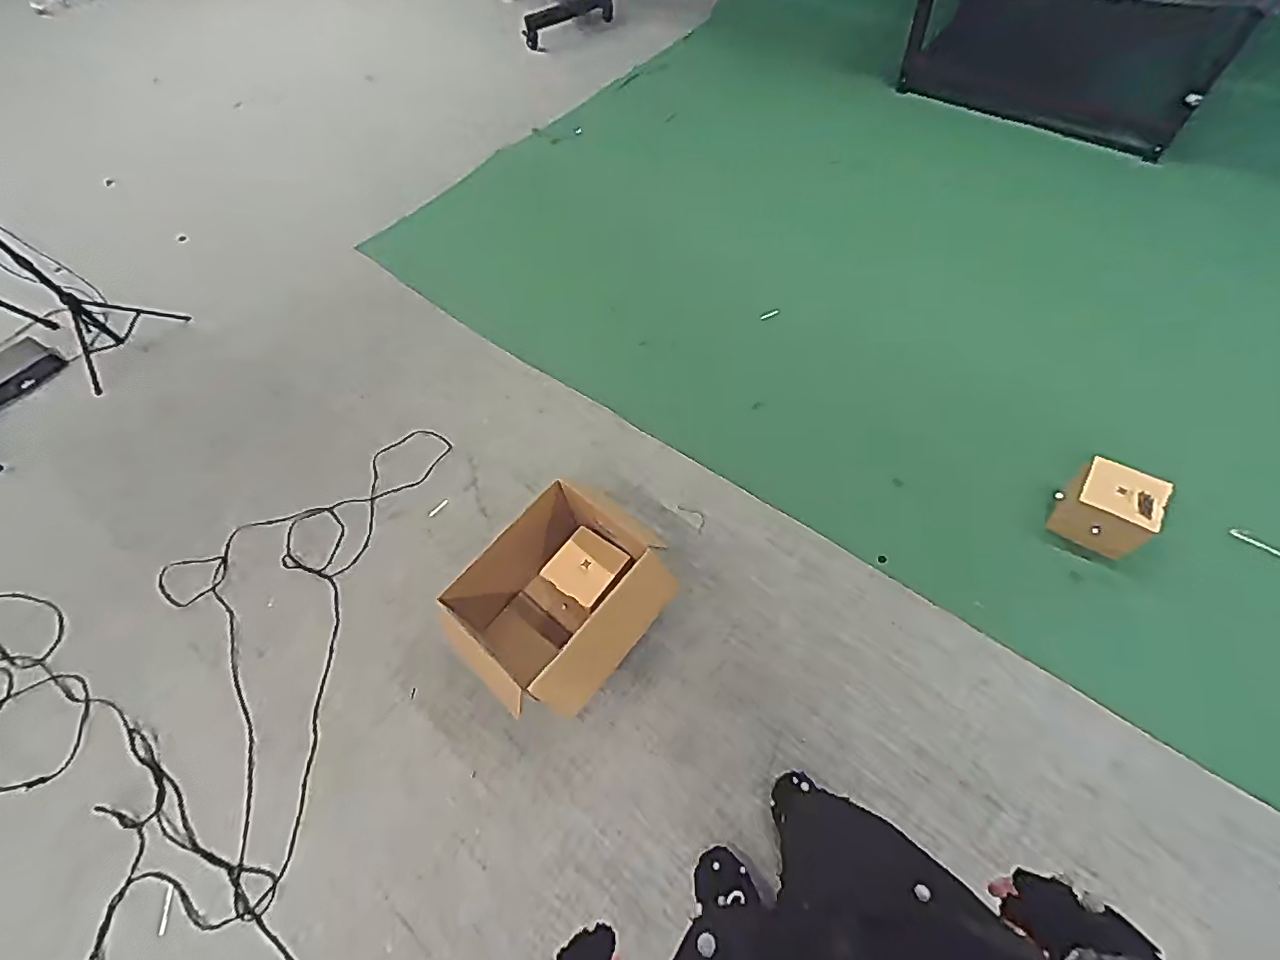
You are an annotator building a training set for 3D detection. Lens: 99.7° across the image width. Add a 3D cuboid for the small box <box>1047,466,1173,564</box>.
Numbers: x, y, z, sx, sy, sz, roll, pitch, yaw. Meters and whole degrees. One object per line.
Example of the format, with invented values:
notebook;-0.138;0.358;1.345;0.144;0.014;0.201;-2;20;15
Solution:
small box;1.232;0.100;1.427;0.179;0.176;0.168;30;65;23
